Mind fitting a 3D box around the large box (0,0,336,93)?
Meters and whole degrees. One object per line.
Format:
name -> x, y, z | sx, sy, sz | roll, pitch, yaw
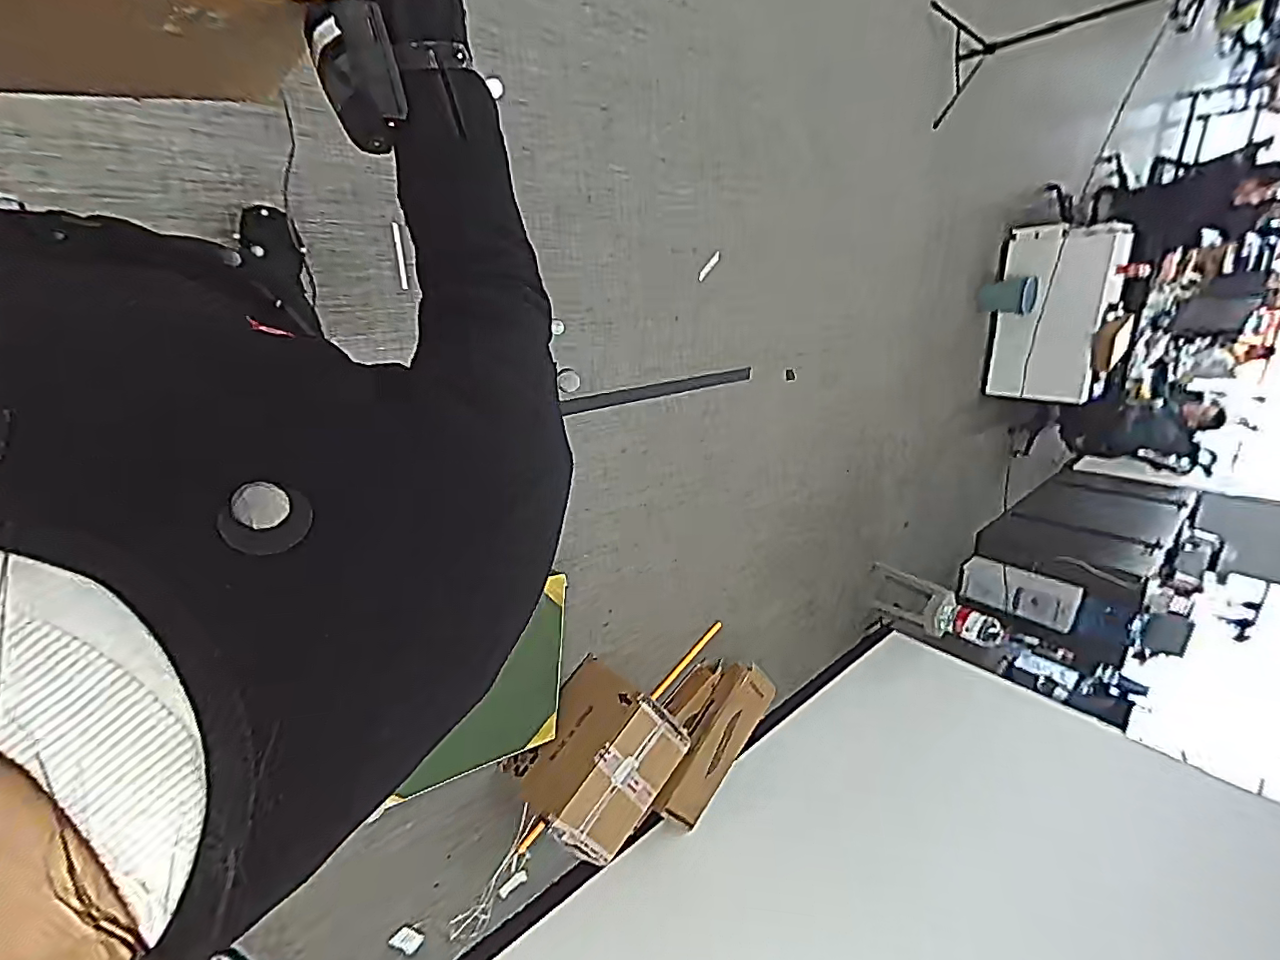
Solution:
large box -> -0.431, -0.394, 0.245 | 0.408, 0.320, 0.320 | -24, 124, -33
